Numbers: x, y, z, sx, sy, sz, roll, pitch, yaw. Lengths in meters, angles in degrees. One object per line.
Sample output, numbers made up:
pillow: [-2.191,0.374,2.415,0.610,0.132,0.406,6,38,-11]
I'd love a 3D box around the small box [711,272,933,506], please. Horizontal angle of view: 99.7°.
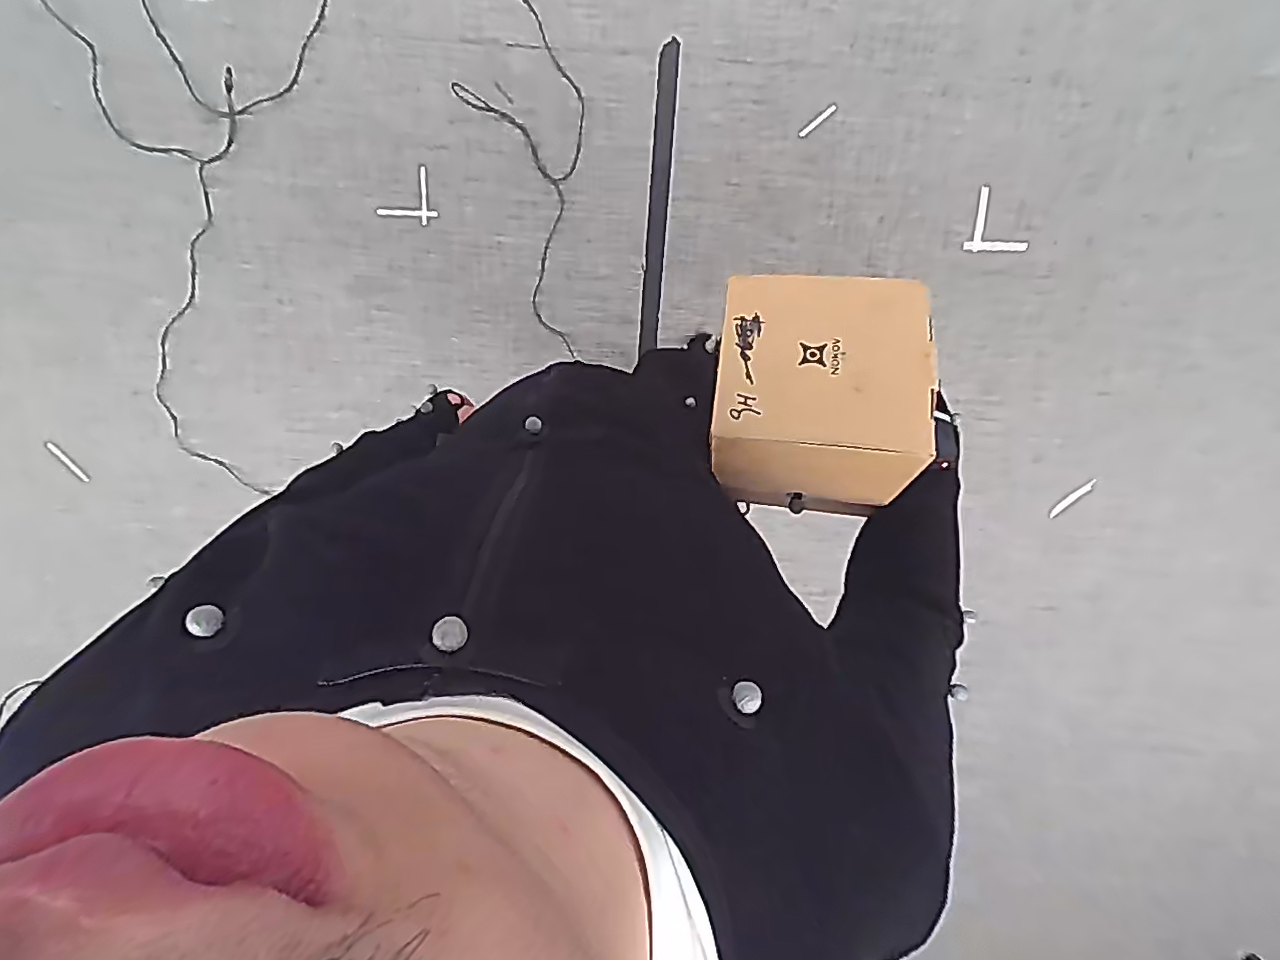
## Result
small box: [0.169,-0.080,0.544,0.179,0.176,0.168,7,69,9]
